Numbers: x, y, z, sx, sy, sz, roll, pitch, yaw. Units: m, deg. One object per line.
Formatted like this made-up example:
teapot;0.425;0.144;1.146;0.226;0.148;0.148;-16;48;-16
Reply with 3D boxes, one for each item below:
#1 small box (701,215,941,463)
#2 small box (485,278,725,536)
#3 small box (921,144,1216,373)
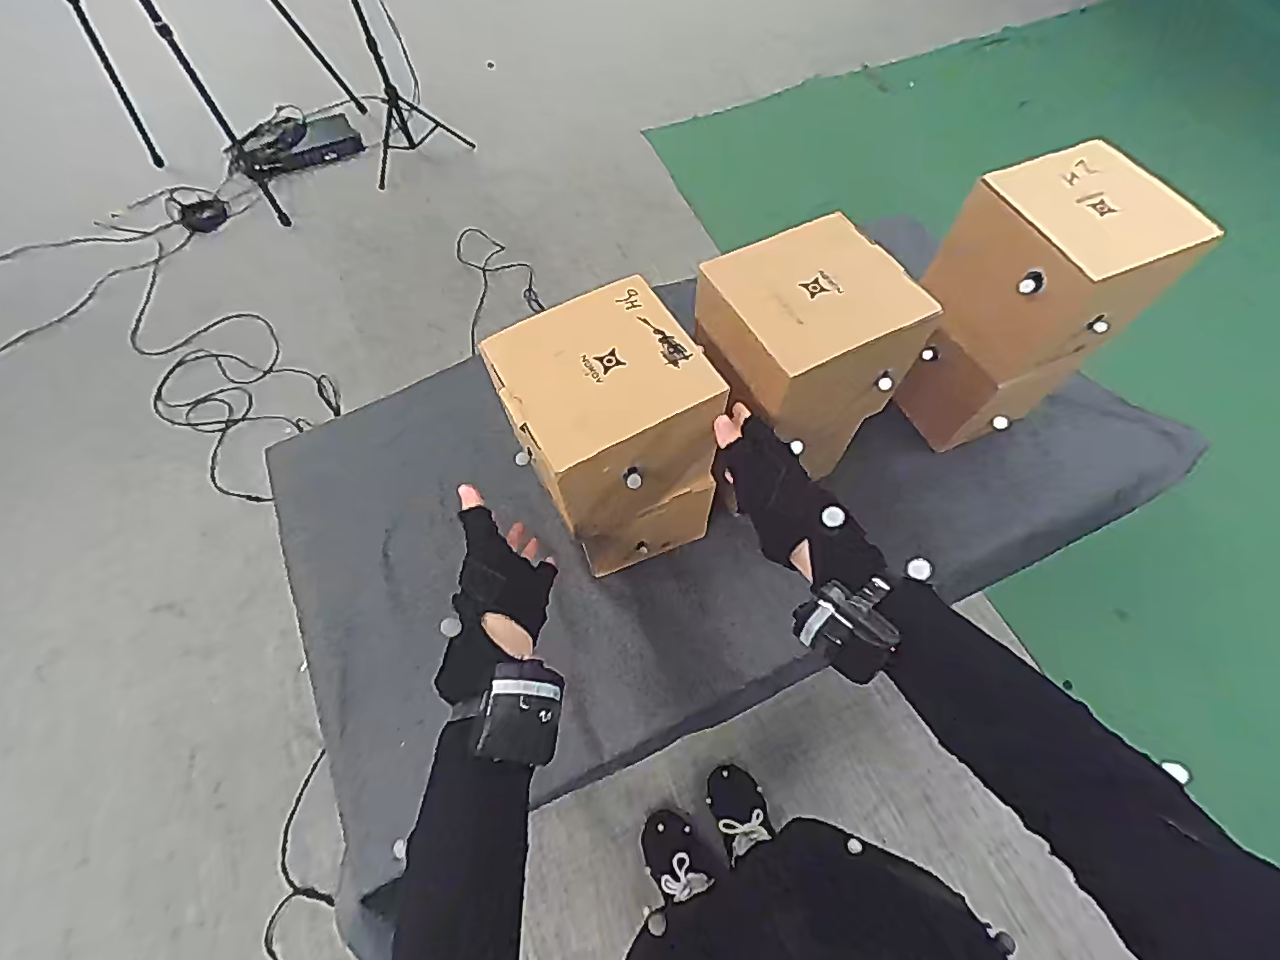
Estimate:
small box;0.178;-0.149;0.601;0.179;0.176;0.168;-25;64;-10
small box;-0.031;-0.067;0.565;0.179;0.176;0.168;-28;65;-11
small box;0.480;-0.249;0.641;0.168;0.176;0.179;-20;64;-9
